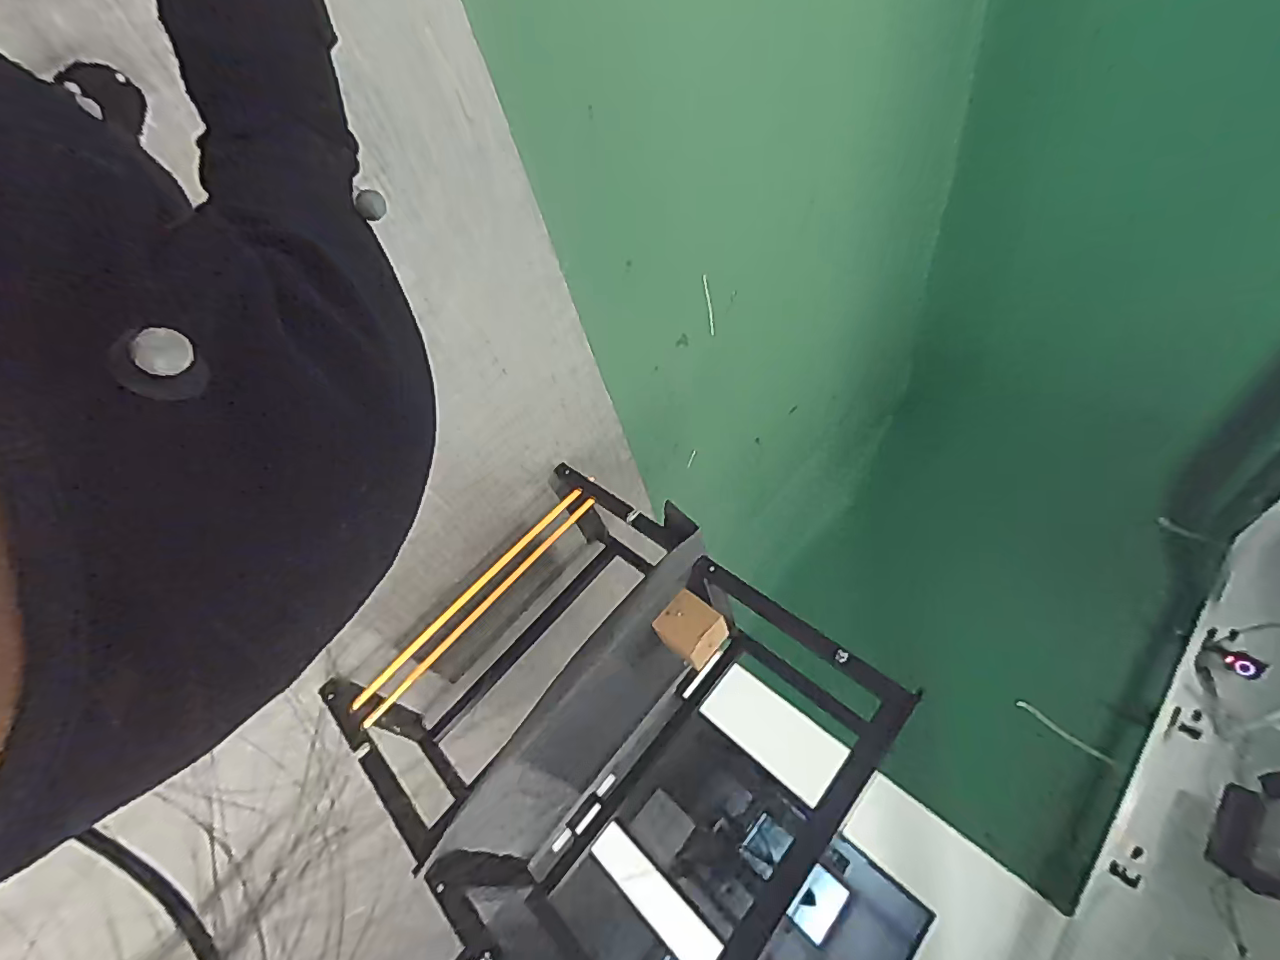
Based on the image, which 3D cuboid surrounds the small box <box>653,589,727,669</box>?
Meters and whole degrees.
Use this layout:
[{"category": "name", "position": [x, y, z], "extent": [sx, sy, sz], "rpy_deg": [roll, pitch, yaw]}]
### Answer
[{"category": "small box", "position": [0.167, 0.493, 1.810], "extent": [0.168, 0.176, 0.179], "rpy_deg": [-47, 145, -17]}]
